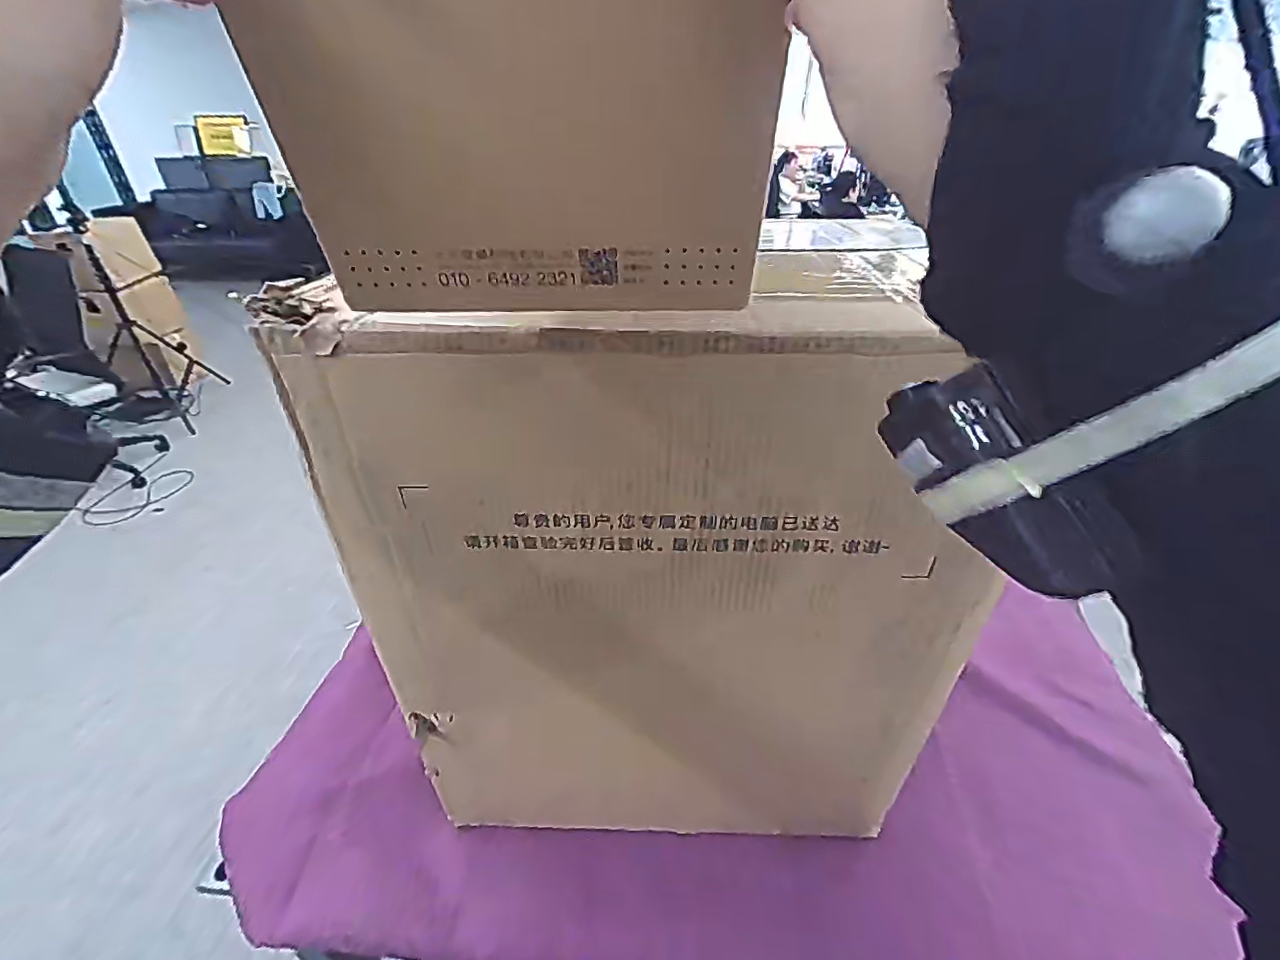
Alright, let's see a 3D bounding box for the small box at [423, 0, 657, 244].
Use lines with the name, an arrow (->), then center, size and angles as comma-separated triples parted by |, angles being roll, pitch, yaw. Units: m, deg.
small box -> -0.075, -0.322, 0.505 | 0.179, 0.176, 0.168 | 1, 34, -1
